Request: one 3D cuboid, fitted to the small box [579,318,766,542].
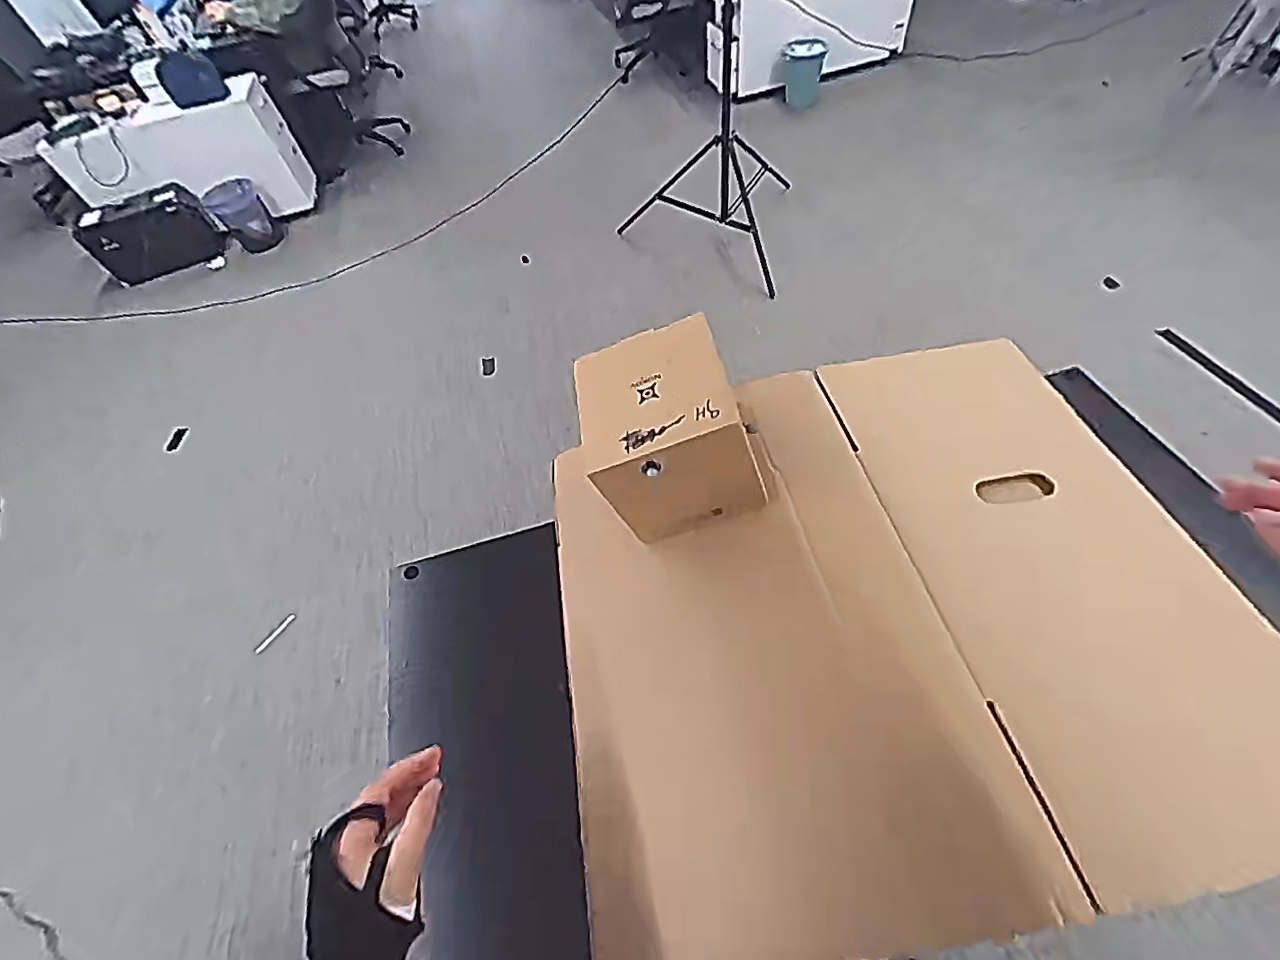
[{"bbox_3d":[0.039,-0.053,0.650,0.168,0.176,0.179,-19,52,12],"label":"small box"}]
